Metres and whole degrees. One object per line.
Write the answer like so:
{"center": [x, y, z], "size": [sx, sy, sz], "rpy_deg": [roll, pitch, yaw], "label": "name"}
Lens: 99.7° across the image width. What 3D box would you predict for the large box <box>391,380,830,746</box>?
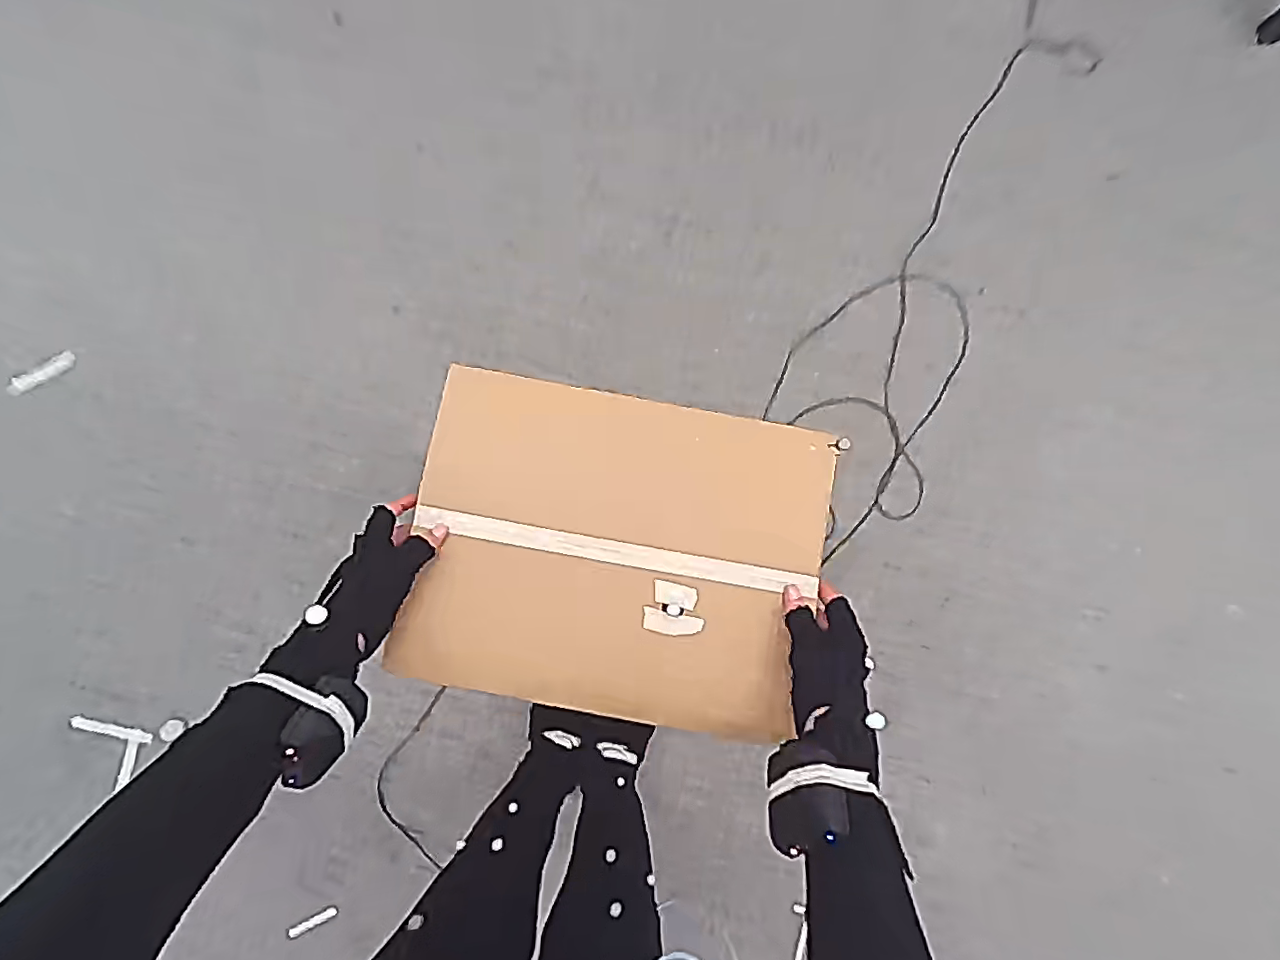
{"center": [-0.028, 0.095, 0.687], "size": [0.408, 0.320, 0.320], "rpy_deg": [11, 84, 0], "label": "large box"}
